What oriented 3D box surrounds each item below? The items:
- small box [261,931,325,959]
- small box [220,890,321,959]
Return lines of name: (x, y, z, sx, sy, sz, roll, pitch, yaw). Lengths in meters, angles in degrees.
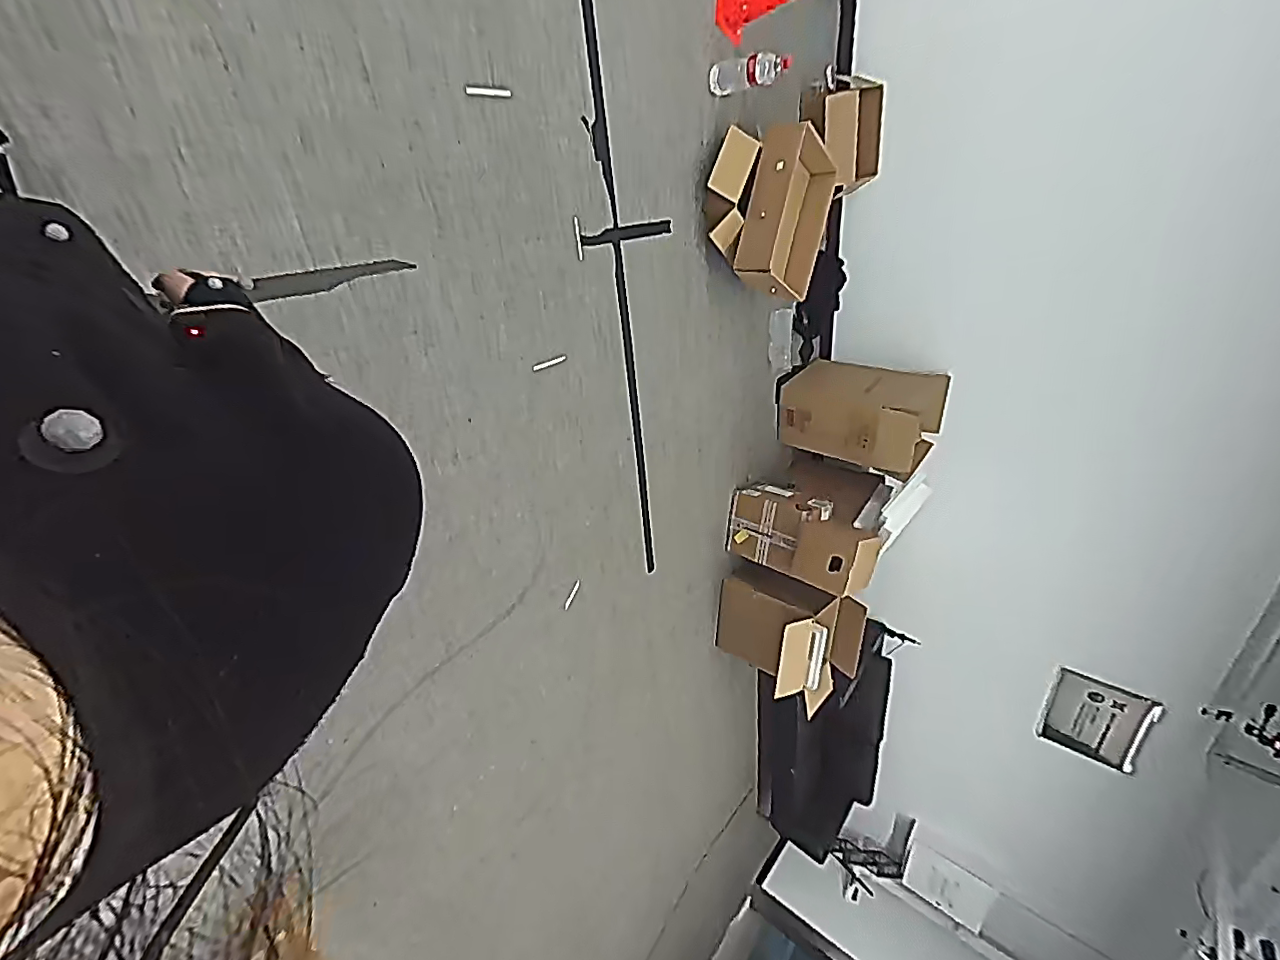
small box: (-0.963, 1.399, 1.485, 0.168, 0.176, 0.179, -34, 130, -37)
small box: (-1.084, 1.359, 1.584, 0.168, 0.176, 0.179, -35, 129, -39)
